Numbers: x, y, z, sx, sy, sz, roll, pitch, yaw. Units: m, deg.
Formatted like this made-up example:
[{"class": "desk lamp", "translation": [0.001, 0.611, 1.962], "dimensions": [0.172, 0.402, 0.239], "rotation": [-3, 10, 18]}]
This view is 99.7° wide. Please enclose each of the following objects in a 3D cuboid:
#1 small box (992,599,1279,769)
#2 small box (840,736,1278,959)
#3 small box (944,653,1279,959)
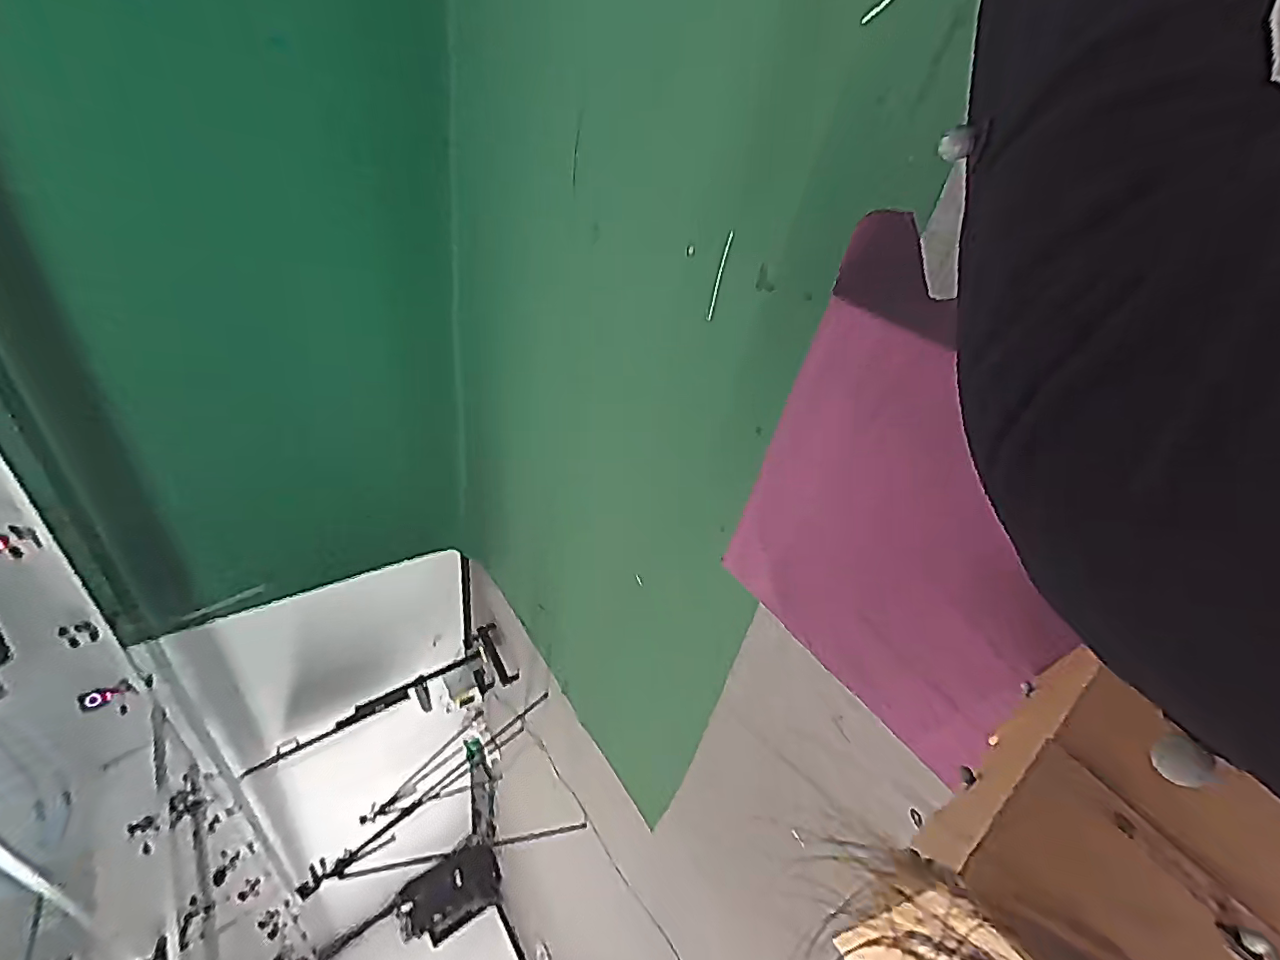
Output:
[{"class": "small box", "translation": [0.542, 0.263, 0.587], "dimensions": [0.168, 0.176, 0.179], "rotation": [47, 137, 32]}, {"class": "small box", "translation": [0.288, 0.323, 0.387], "dimensions": [0.168, 0.176, 0.179], "rotation": [46, 138, 33]}, {"class": "small box", "translation": [0.419, 0.293, 0.483], "dimensions": [0.168, 0.176, 0.179], "rotation": [45, 137, 33]}]
